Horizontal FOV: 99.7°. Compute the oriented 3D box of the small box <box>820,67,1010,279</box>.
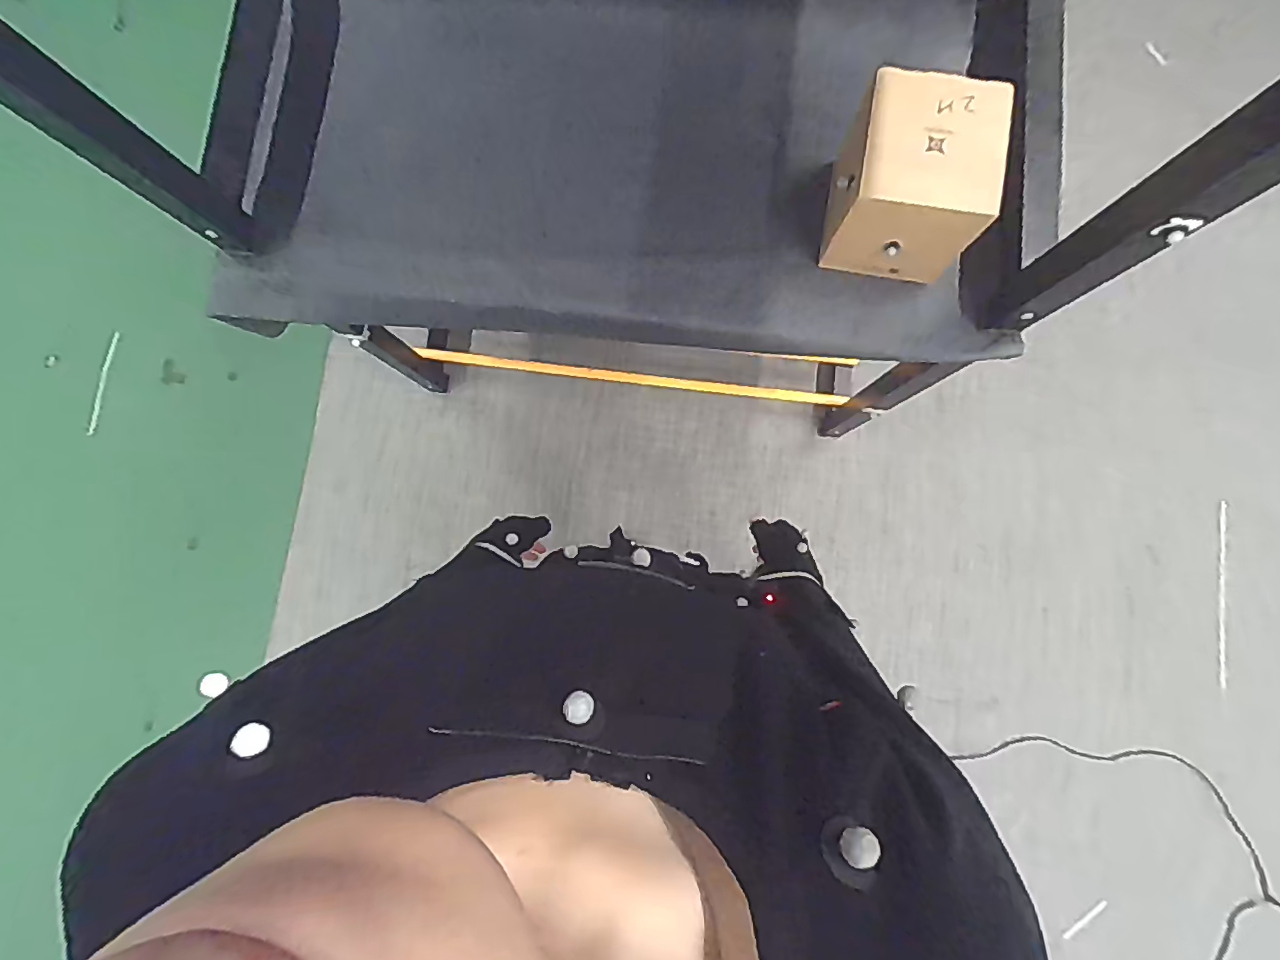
[{"bbox_3d":[0.353,-0.396,0.725,0.168,0.176,0.179,10,83,3],"label":"small box"}]
